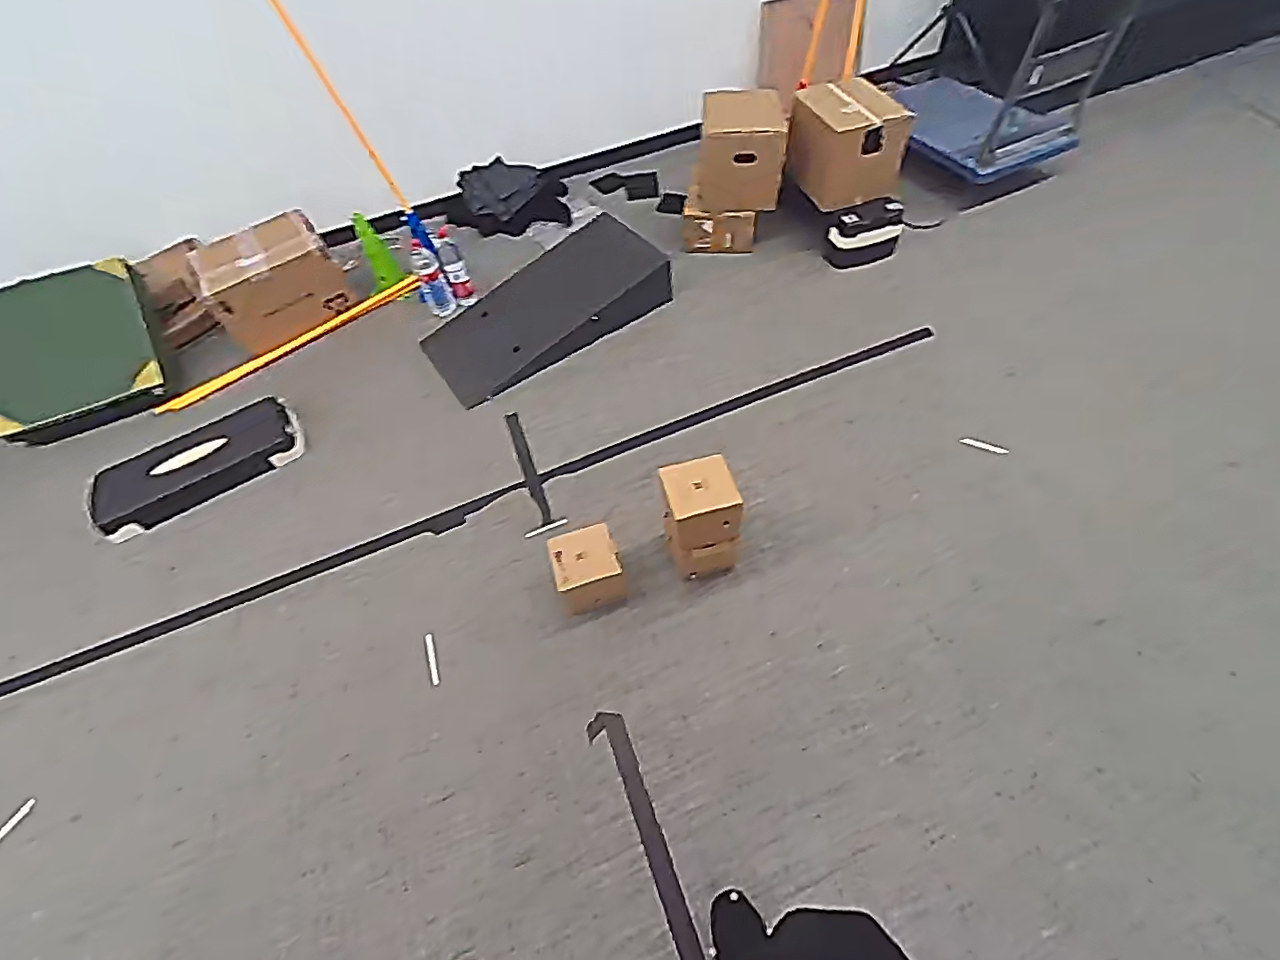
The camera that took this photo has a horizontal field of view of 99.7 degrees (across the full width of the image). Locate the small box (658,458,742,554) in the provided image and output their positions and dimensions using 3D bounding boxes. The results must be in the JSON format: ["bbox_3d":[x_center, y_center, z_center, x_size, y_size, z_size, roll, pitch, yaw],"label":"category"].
[{"bbox_3d":[0.153,0.073,1.421,0.179,0.176,0.168,-14,54,-4],"label":"small box"}]

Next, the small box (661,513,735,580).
[{"bbox_3d":[0.165,0.171,1.551,0.168,0.176,0.179,-15,54,-5],"label":"small box"}]

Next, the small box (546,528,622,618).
[{"bbox_3d":[-0.152,0.263,1.516,0.179,0.176,0.168,-16,55,-6],"label":"small box"}]
